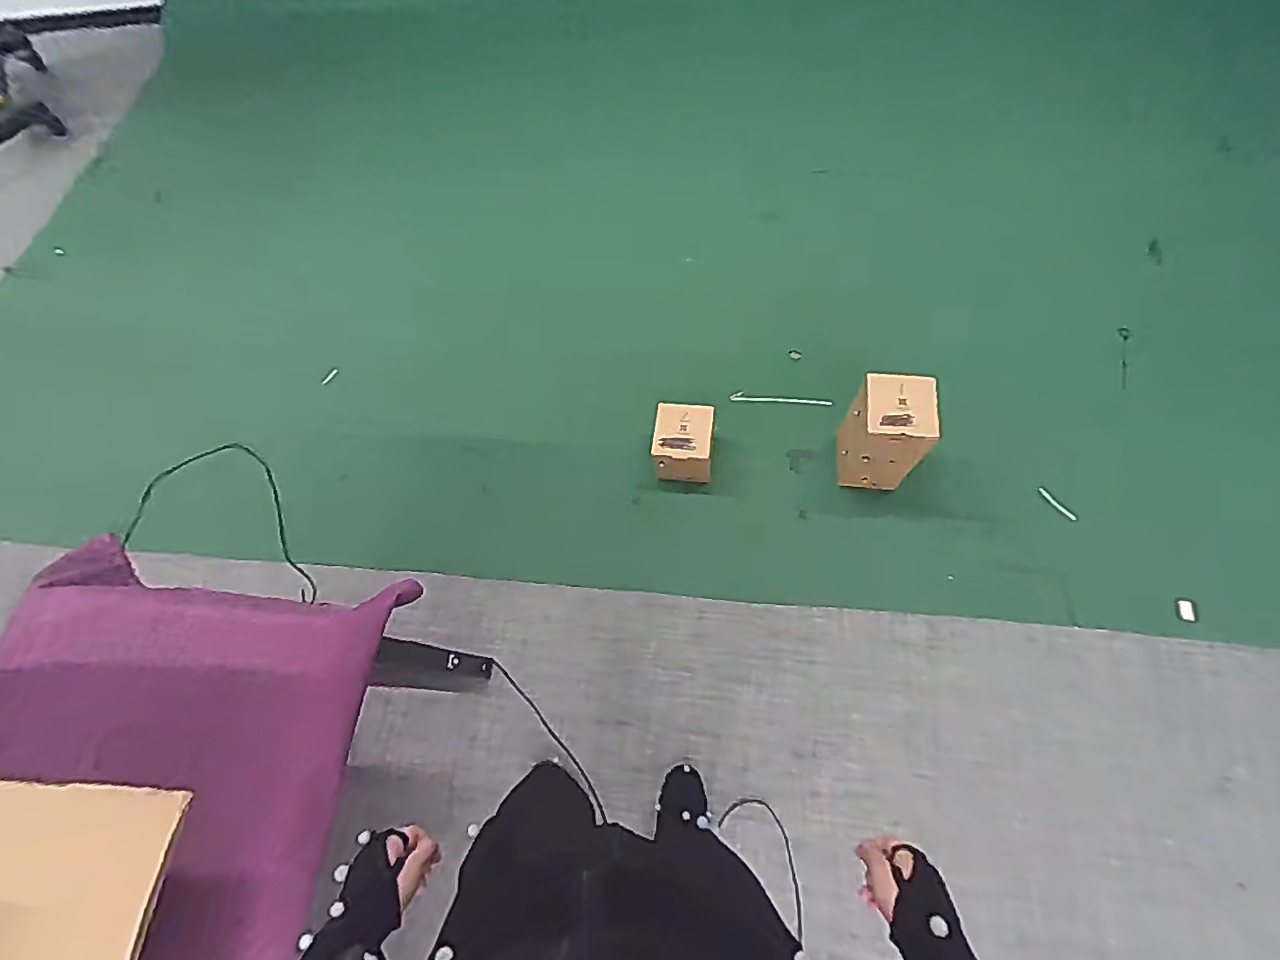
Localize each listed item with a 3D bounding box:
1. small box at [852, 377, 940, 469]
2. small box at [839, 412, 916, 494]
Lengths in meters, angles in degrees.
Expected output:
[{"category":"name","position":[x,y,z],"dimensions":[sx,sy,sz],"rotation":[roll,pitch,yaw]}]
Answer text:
[{"category":"small box","position":[0.658,-0.143,1.403],"dimensions":[0.168,0.176,0.179],"rotation":[6,67,8]},{"category":"small box","position":[0.674,-0.077,1.552],"dimensions":[0.168,0.176,0.179],"rotation":[5,68,8]}]
